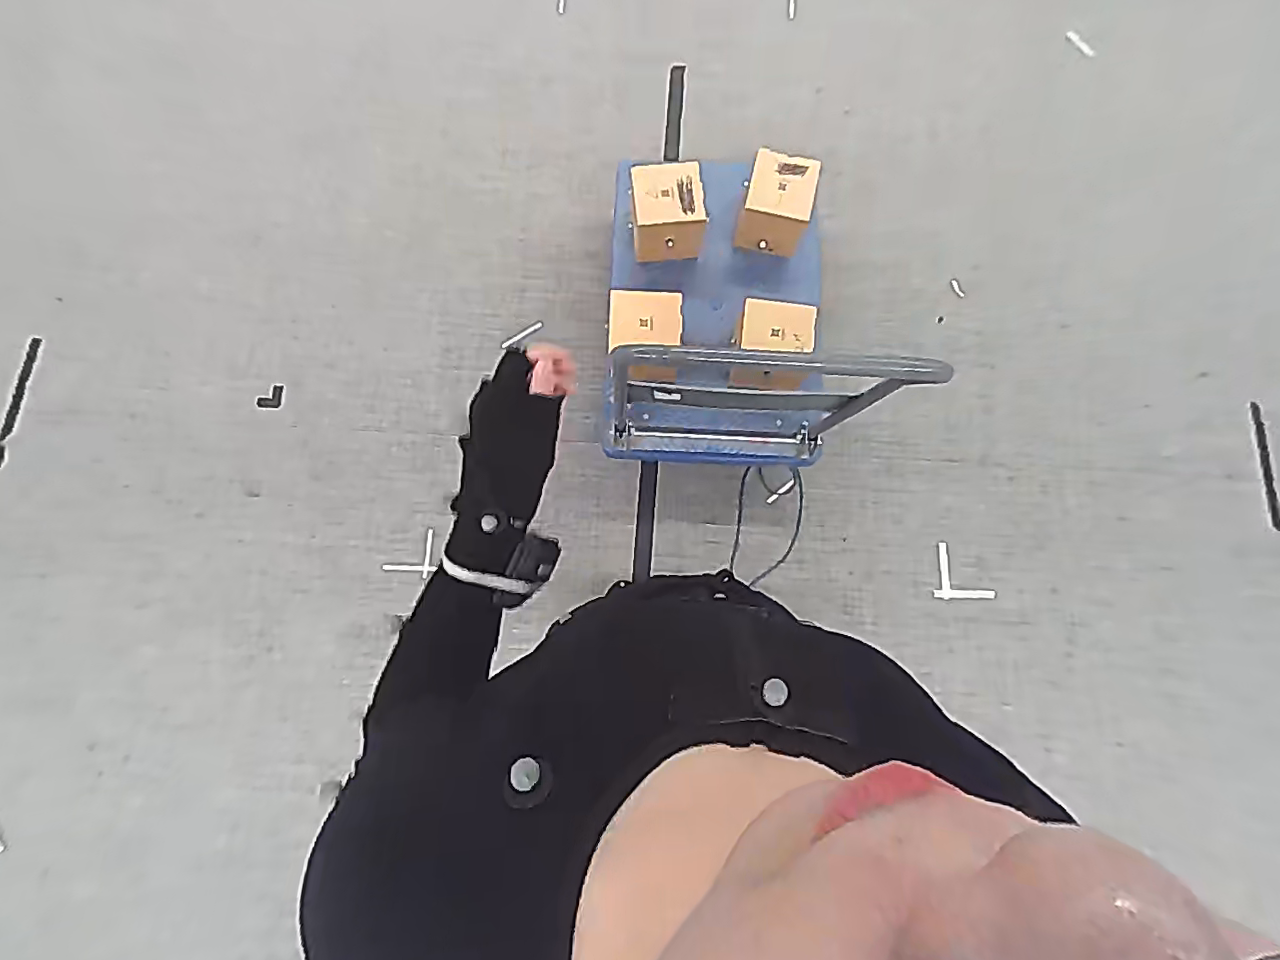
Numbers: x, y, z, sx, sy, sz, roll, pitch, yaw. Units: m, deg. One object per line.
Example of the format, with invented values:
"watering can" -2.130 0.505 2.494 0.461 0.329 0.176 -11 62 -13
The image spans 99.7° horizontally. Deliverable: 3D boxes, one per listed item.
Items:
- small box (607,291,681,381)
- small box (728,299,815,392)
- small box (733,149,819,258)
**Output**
"small box" 0.008 -0.357 1.366 0.179 0.176 0.168 1 80 -3
"small box" 0.326 -0.333 1.368 0.179 0.176 0.168 8 80 0
"small box" 0.355 -0.728 1.438 0.168 0.176 0.179 13 81 1
